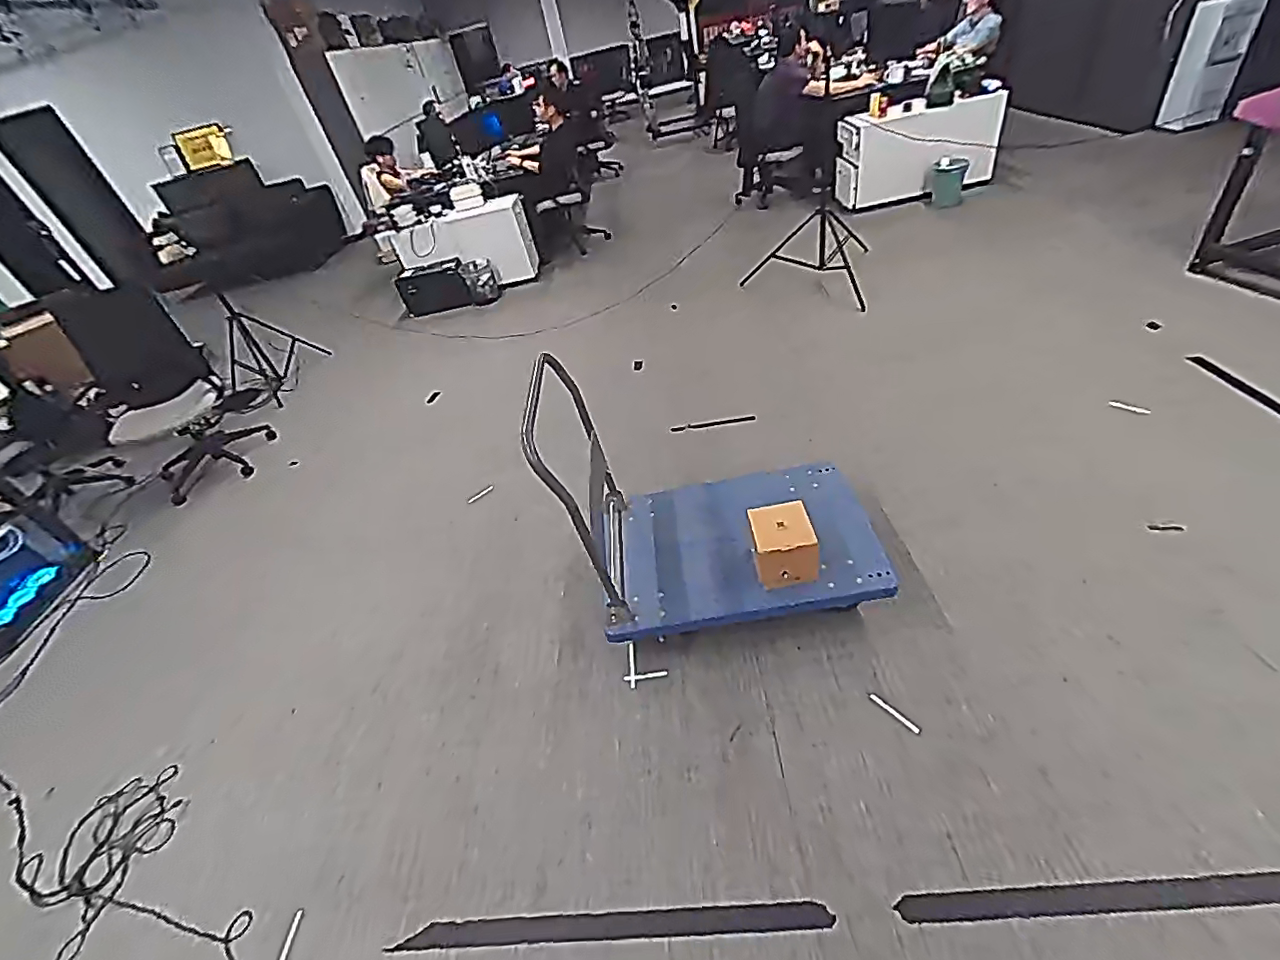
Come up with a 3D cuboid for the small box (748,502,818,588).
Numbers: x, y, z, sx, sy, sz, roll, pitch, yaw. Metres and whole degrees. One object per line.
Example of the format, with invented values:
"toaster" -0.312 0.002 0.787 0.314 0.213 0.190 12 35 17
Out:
"small box" 0.421 0.195 1.608 0.168 0.176 0.179 -11 40 5
